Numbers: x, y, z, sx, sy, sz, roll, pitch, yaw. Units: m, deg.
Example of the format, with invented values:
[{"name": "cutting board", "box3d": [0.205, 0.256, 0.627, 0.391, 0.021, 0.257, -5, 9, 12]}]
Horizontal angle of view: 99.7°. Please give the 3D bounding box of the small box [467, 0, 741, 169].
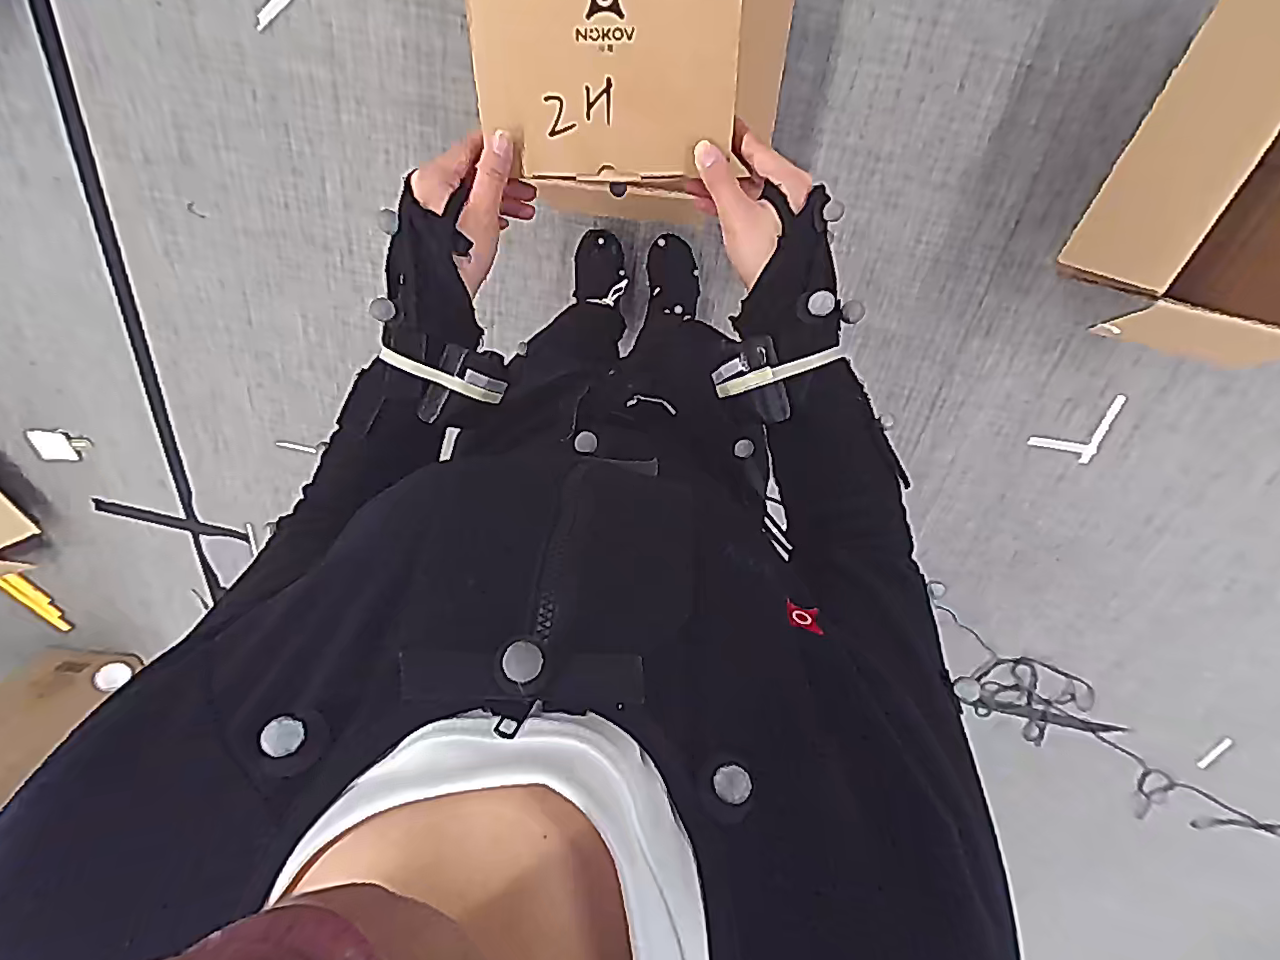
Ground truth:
[{"name": "small box", "box3d": [-0.020, -0.326, 0.388, 0.168, 0.176, 0.179, 1, 121, 2]}]
